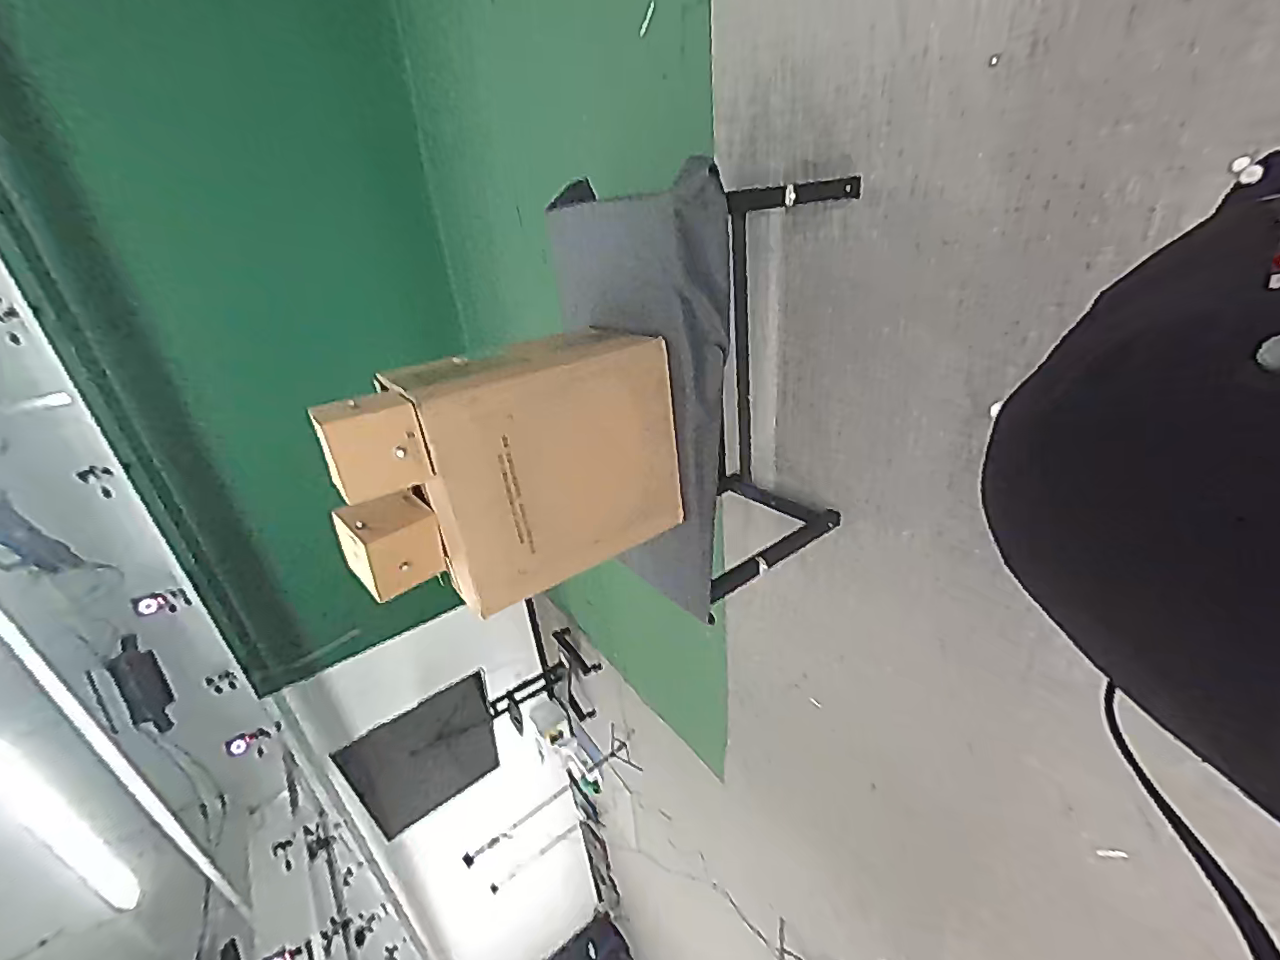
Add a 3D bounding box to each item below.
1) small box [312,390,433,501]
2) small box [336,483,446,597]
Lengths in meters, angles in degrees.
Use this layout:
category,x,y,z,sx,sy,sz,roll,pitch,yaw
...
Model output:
category,x,y,z,sx,sy,sz,roll,pitch,yaw
small box,-0.546,-0.080,1.114,0.179,0.176,0.168,24,129,49
small box,-0.583,0.136,1.286,0.168,0.176,0.179,29,132,32
